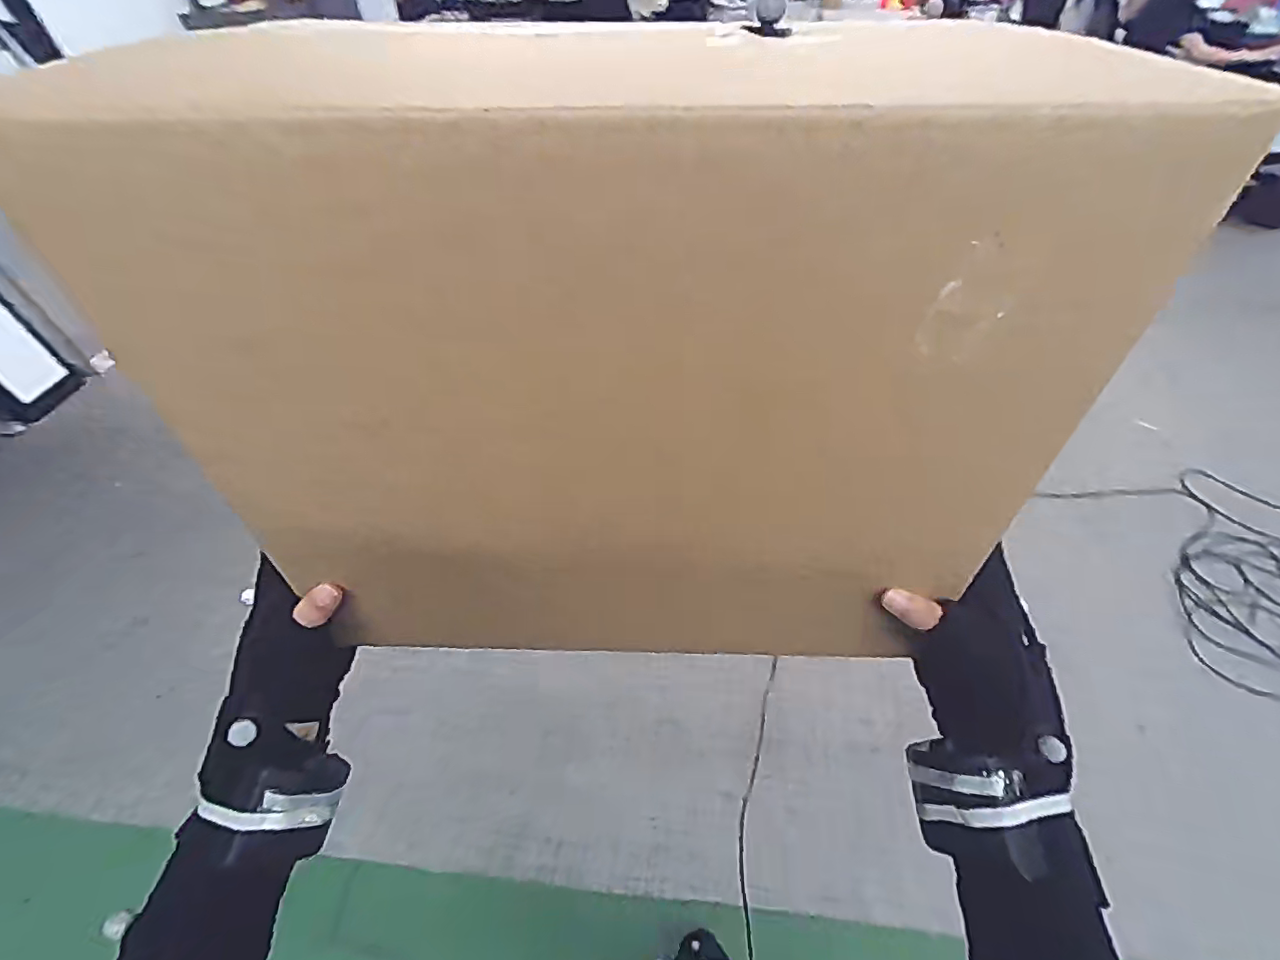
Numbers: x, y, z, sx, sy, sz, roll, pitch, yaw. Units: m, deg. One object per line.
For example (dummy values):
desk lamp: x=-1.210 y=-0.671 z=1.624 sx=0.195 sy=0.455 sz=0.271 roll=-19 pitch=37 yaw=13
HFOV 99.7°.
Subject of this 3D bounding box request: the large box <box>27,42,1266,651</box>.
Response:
large box: x=0.001 y=-0.095 z=0.379 sx=0.408 sy=0.320 sz=0.320 roll=2 pitch=44 yaw=0
